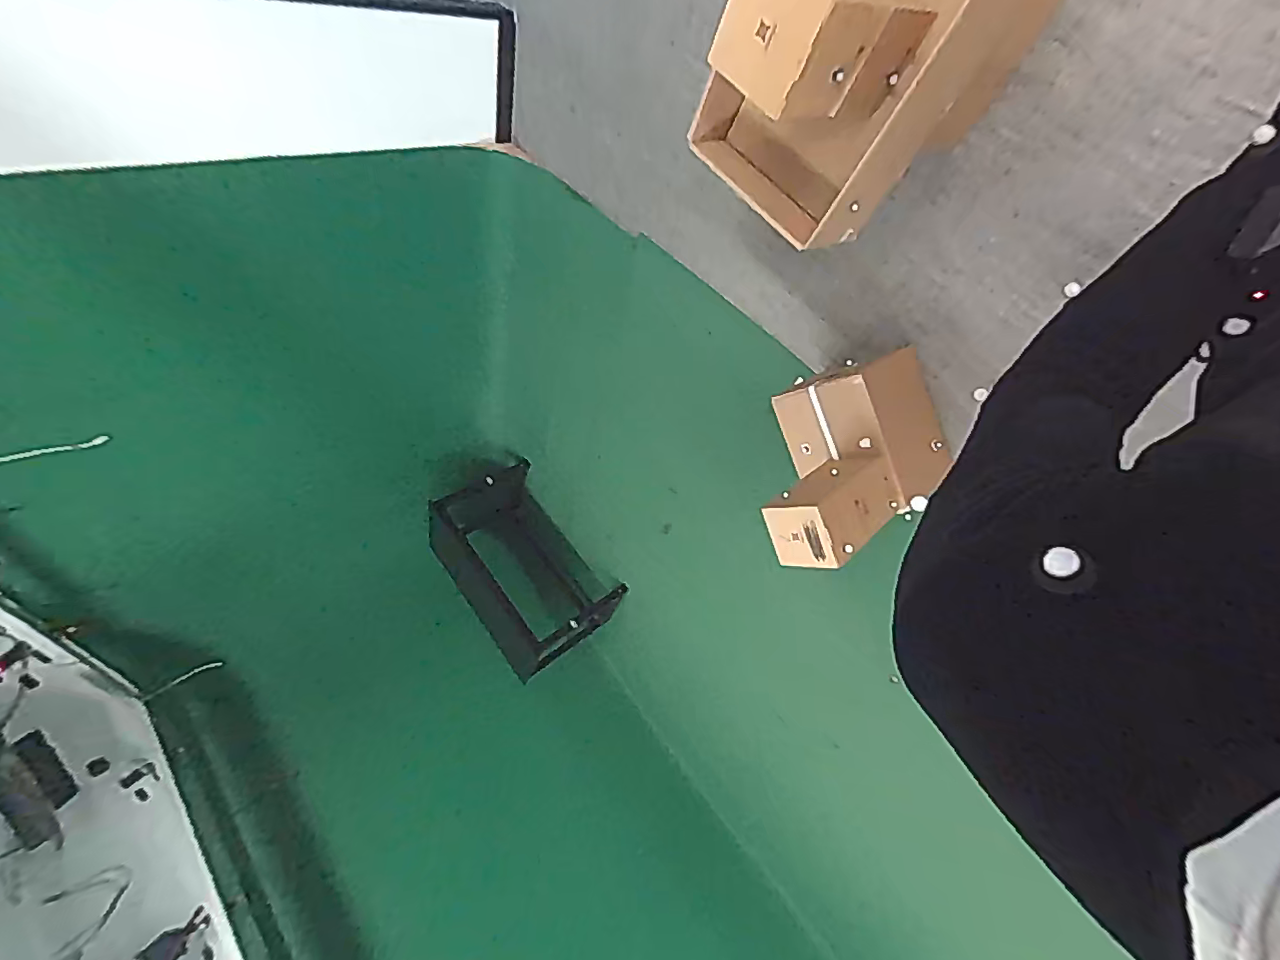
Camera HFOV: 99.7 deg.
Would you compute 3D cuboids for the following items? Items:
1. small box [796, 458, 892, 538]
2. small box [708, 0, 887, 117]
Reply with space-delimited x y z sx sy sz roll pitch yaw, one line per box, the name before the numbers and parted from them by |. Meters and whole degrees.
small box | 0.561 0.046 1.470 0.179 0.176 0.168 -5 108 53
small box | 0.249 -0.717 0.867 0.179 0.176 0.168 50 145 14
